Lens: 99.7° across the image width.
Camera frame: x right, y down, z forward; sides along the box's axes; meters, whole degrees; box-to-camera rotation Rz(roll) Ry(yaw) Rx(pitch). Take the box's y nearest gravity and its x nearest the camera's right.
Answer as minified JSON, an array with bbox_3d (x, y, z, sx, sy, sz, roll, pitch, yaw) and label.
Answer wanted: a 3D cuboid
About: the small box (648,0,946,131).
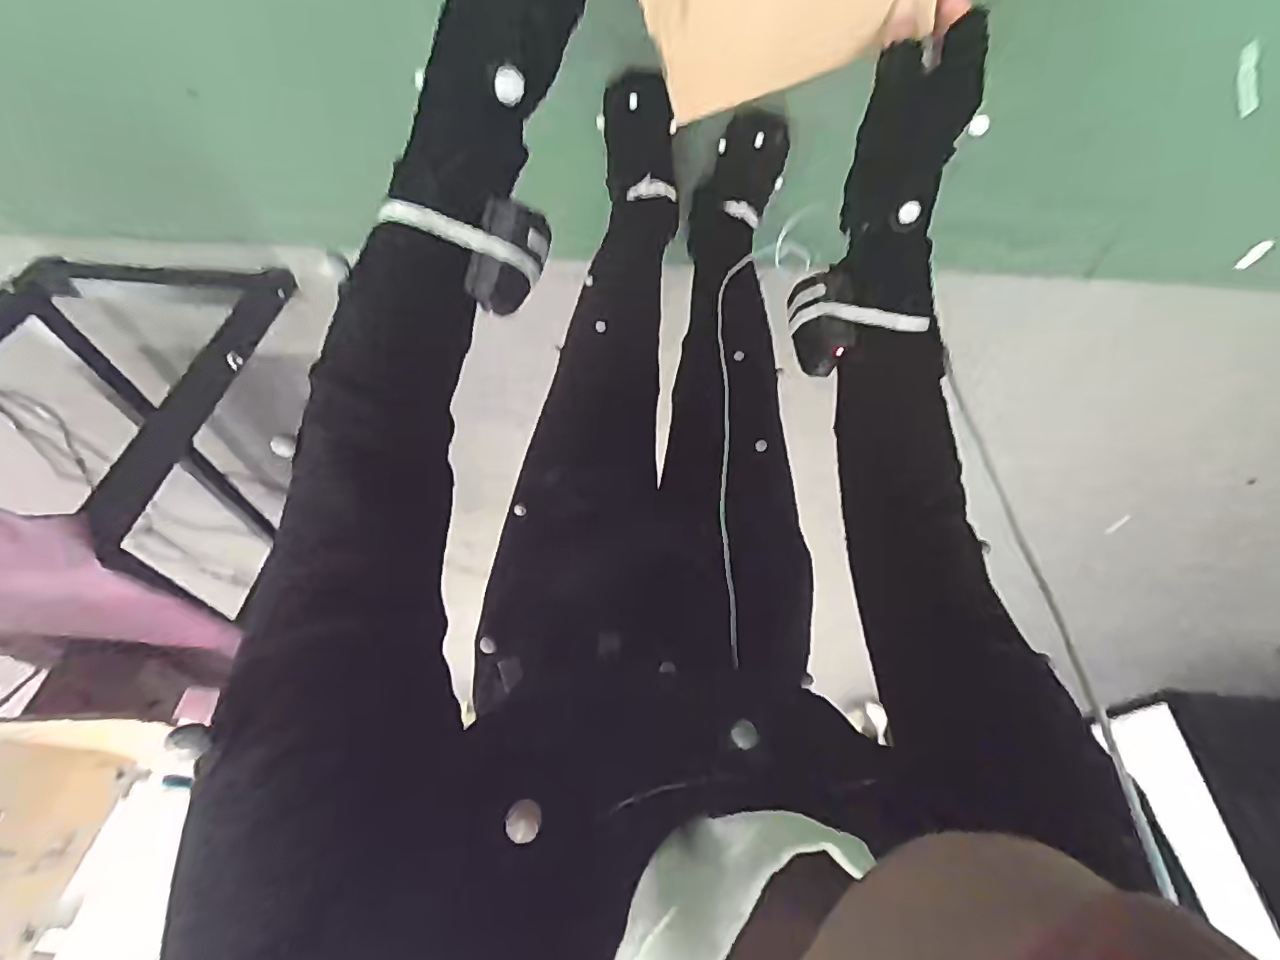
[{"bbox_3d":[0.086,-0.377,0.345,0.179,0.176,0.168,-10,149,17],"label":"small box"}]

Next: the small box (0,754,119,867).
[{"bbox_3d":[-1.157,0.625,1.024,0.179,0.176,0.168,3,144,2],"label":"small box"}]
